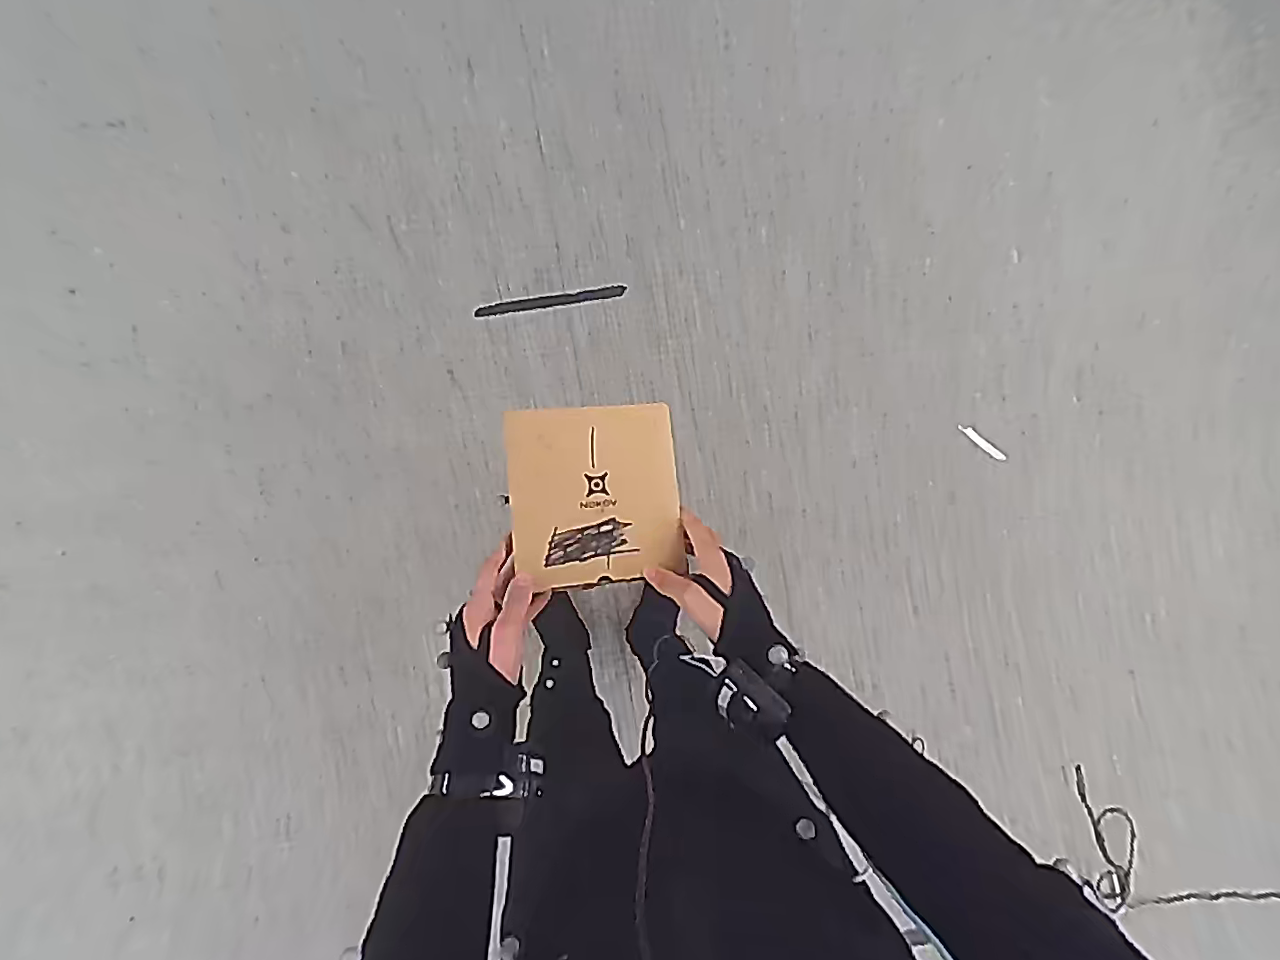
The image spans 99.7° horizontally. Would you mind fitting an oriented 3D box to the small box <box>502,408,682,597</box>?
[{"bbox_3d":[-0.061,0.028,0.600,0.168,0.176,0.179,-4,82,-13],"label":"small box"}]
